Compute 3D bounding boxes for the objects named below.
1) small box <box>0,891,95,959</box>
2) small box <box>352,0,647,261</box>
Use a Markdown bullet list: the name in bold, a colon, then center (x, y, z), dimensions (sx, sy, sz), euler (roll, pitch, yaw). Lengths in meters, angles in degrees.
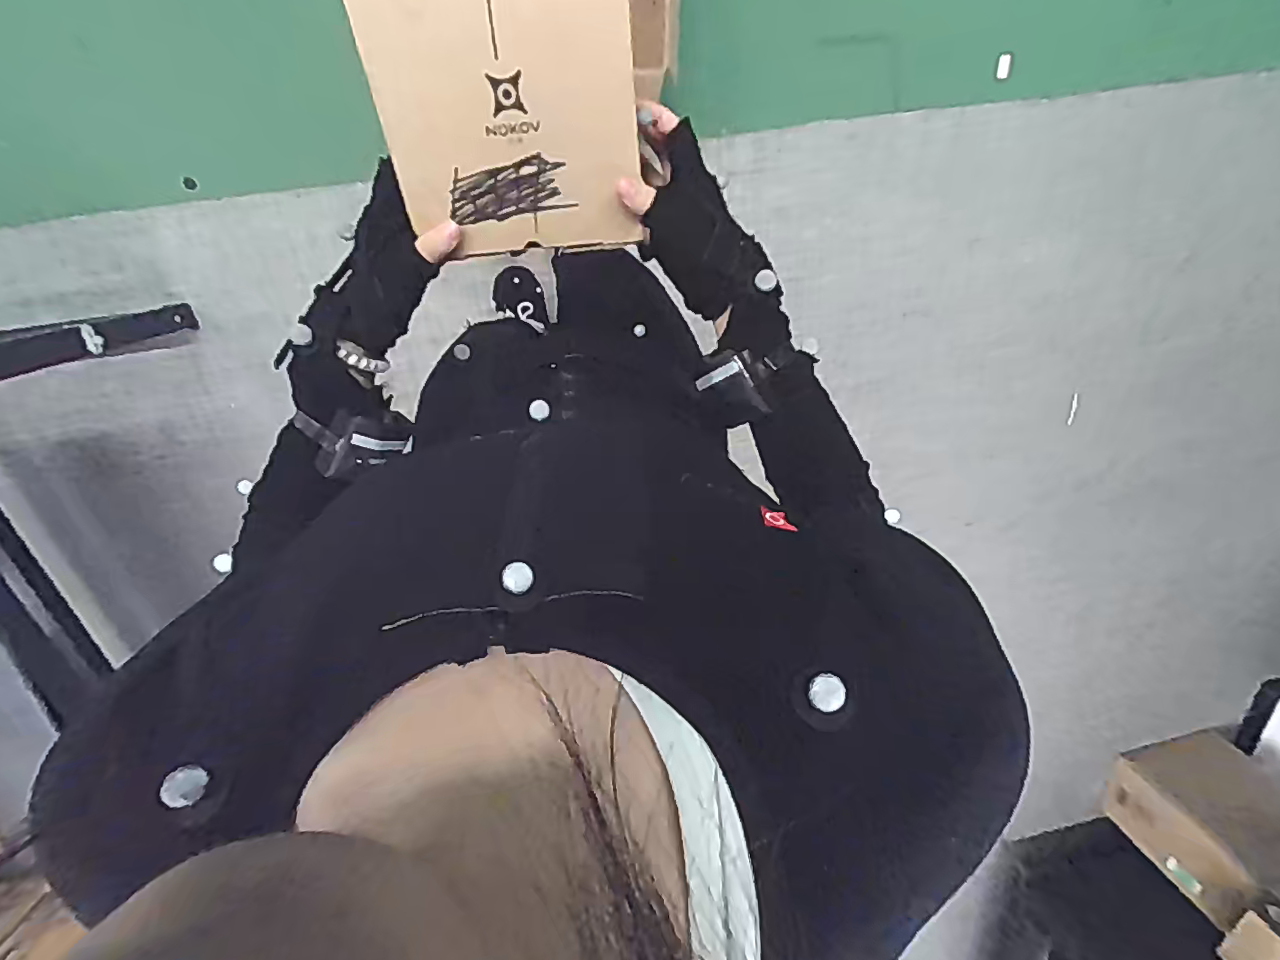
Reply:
- **small box**: center (-1.019, 0.769, 0.824), dimensions (0.168, 0.176, 0.179), euler (-15, 115, -4)
- **small box**: center (-0.084, -0.284, 0.409), dimensions (0.168, 0.176, 0.179), euler (-6, 126, 0)
